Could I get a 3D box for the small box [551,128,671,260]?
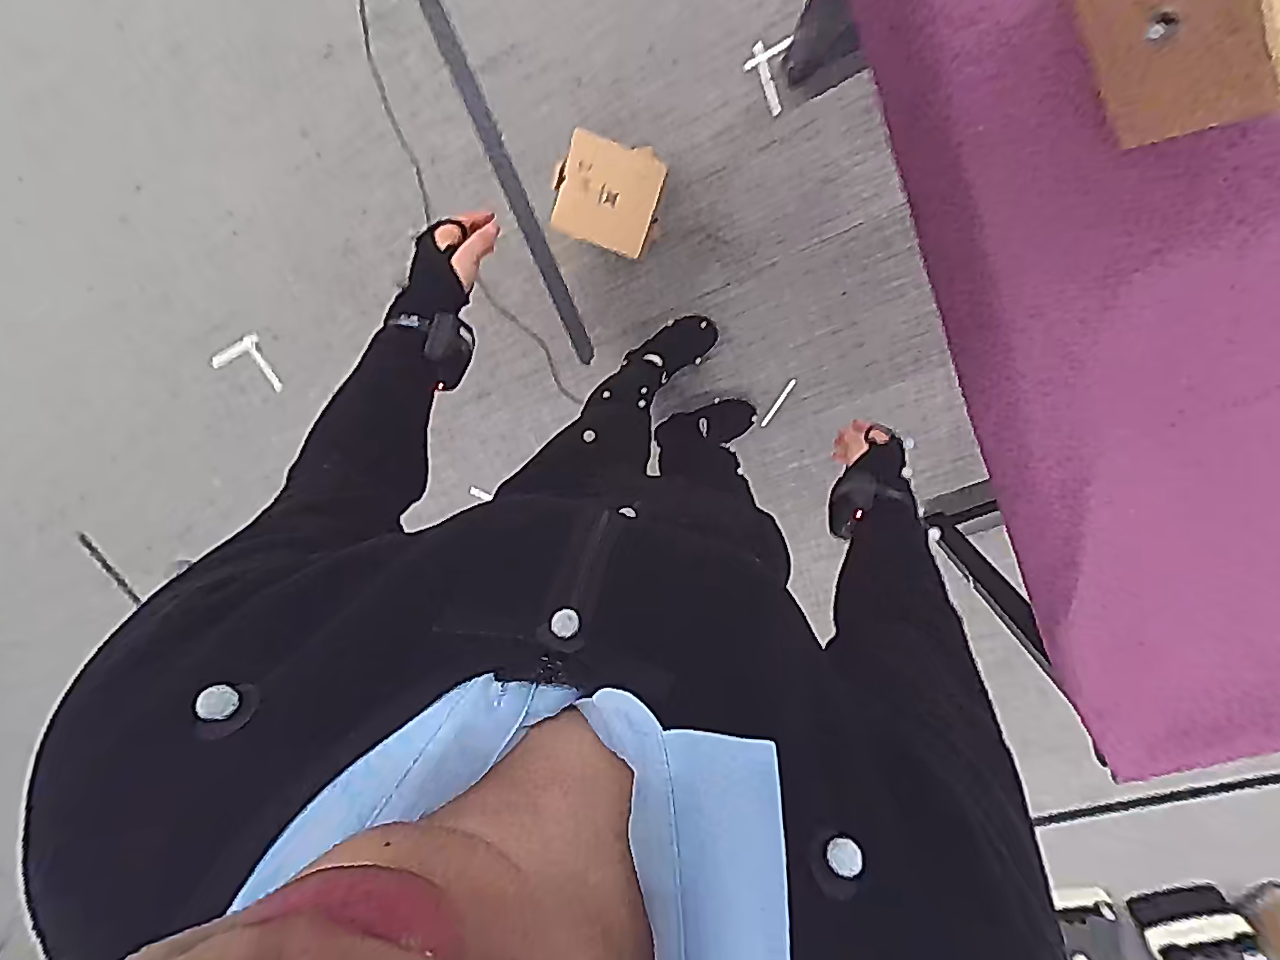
[{"bbox_3d":[-0.048,-0.536,1.032,0.179,0.176,0.168,21,112,-3],"label":"small box"}]
